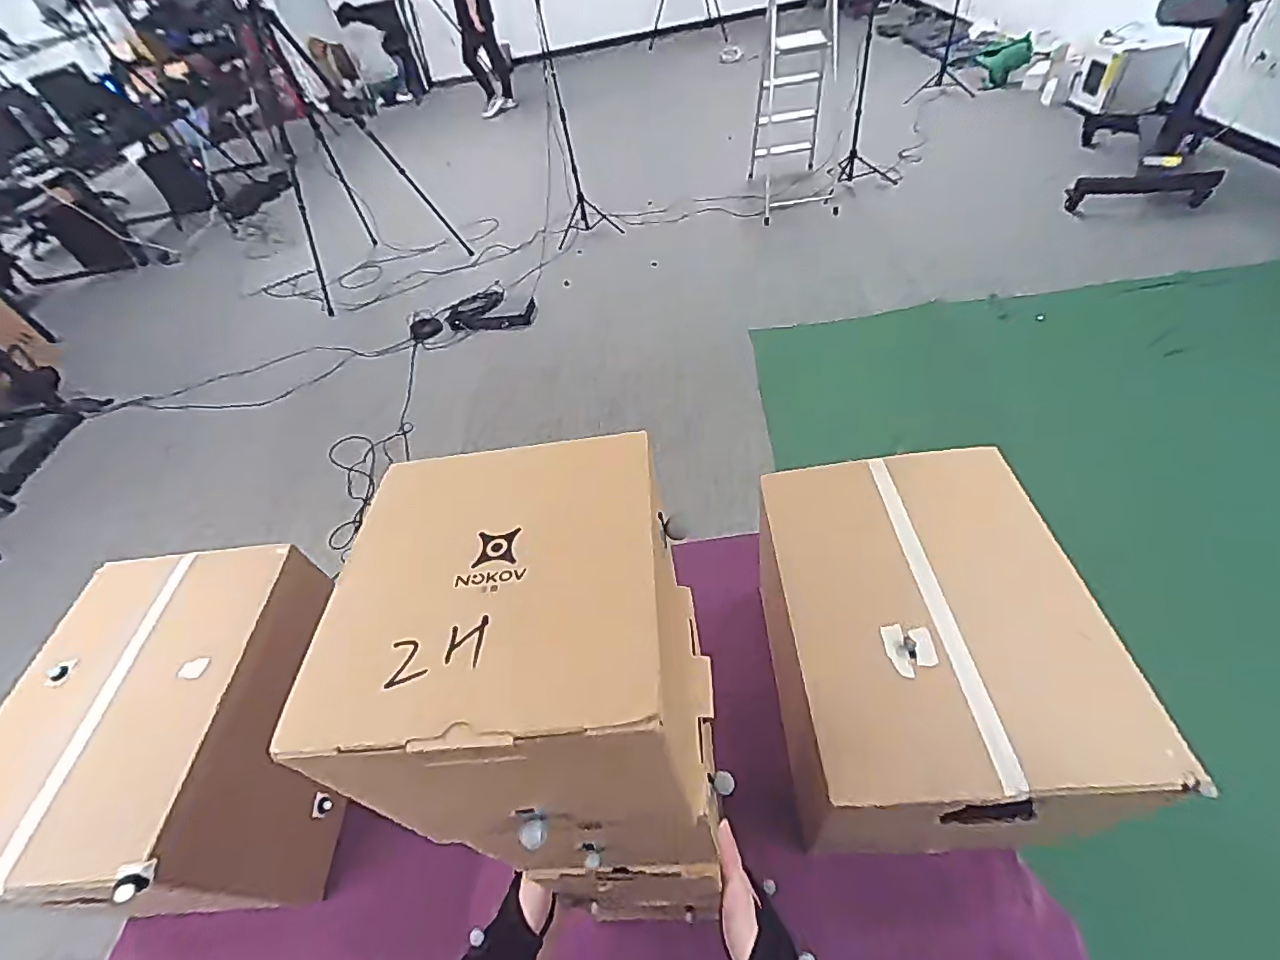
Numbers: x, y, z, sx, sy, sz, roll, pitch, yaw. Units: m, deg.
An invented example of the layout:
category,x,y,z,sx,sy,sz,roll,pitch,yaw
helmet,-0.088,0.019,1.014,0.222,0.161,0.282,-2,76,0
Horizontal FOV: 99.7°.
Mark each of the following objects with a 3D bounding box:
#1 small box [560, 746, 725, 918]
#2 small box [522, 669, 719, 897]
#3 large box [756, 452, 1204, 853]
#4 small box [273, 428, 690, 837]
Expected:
category,x,y,z,sx,sy,sz,roll,pitch,yaw
small box,0.010,0.436,0.679,0.179,0.176,0.168,-5,47,5
small box,-0.009,0.319,0.564,0.168,0.176,0.179,-5,46,6
large box,0.340,0.224,0.708,0.320,0.320,0.408,-7,49,6
small box,-0.062,0.094,0.329,0.168,0.176,0.179,-7,46,6
